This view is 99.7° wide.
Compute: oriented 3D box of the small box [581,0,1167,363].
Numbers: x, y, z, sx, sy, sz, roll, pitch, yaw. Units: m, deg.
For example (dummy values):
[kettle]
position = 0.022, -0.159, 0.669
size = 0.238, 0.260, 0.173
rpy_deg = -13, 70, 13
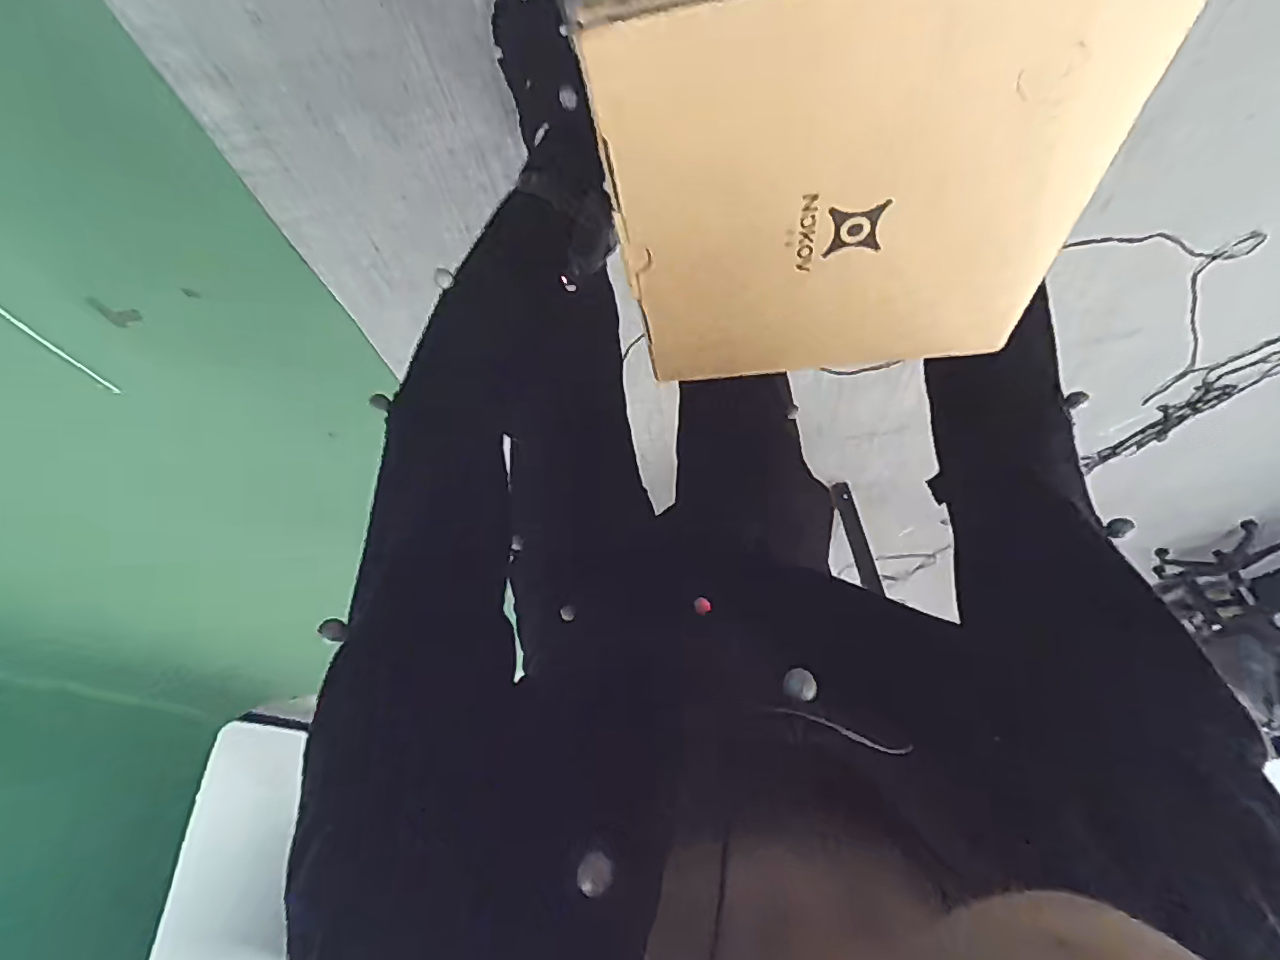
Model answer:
[small box]
position = 0.079, -0.180, 0.255
size = 0.179, 0.176, 0.168
rpy_deg = -4, 151, 10
